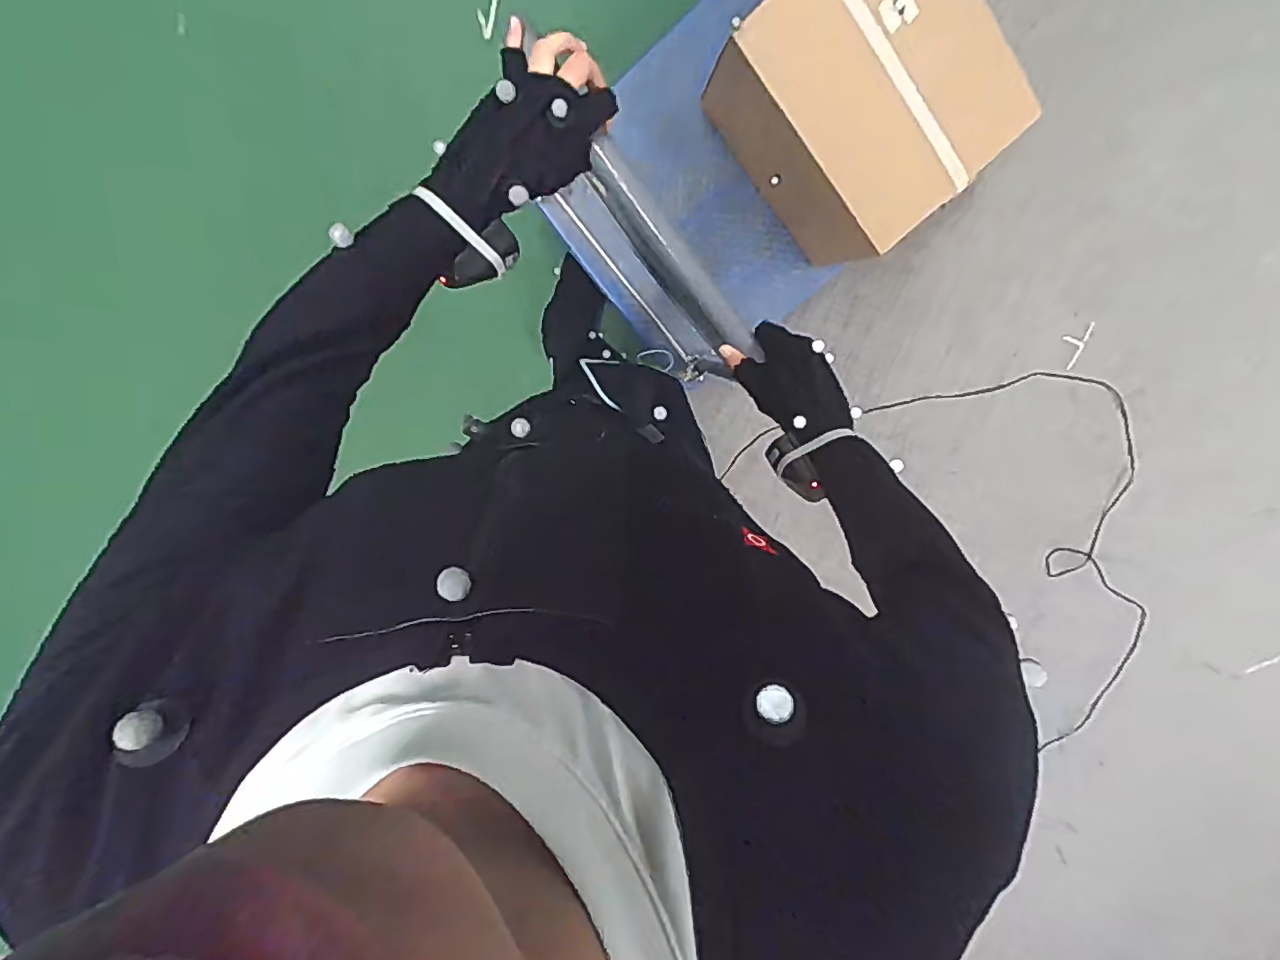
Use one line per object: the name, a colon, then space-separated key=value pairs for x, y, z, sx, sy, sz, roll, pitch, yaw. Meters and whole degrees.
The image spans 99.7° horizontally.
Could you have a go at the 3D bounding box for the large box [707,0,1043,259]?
large box: x=0.378 y=-0.664 z=0.958 sx=0.320 sy=0.320 sz=0.408 roll=-41 pitch=105 yaw=10
